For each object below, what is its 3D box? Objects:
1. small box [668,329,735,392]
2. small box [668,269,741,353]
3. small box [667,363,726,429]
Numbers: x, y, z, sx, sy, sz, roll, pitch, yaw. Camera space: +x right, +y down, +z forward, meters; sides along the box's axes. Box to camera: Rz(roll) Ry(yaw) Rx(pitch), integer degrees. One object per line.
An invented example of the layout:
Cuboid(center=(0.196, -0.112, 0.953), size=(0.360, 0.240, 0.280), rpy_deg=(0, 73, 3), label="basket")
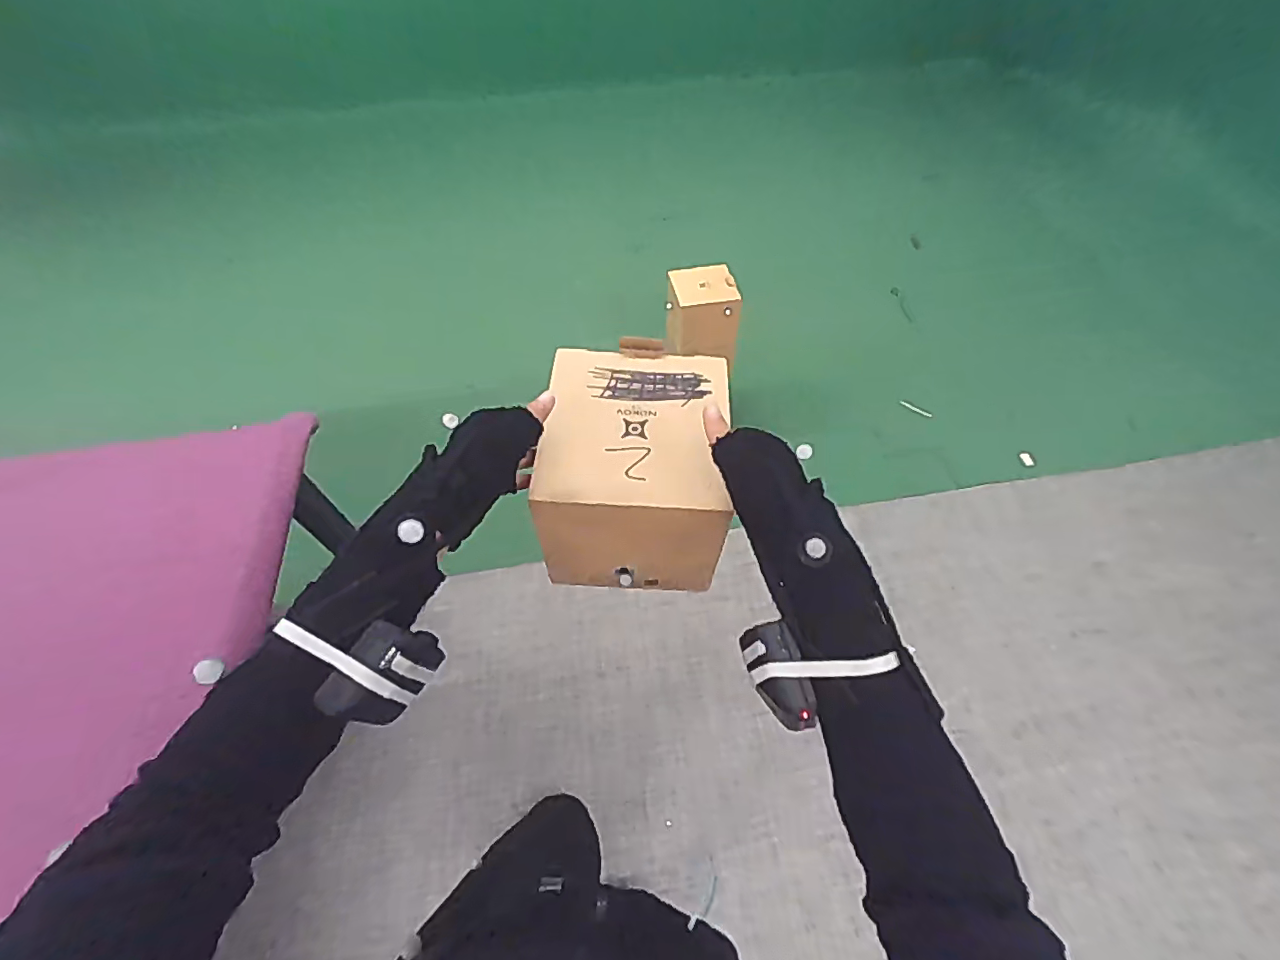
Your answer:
Cuboid(center=(0.190, -0.400, 1.720), size=(0.179, 0.176, 0.168), rpy_deg=(-7, 53, -4), label="small box")
Cuboid(center=(0.183, -0.492, 1.589), size=(0.179, 0.176, 0.168), rpy_deg=(-9, 55, -6), label="small box")
Cuboid(center=(0.188, -0.300, 1.854), size=(0.168, 0.176, 0.179), rpy_deg=(-9, 56, -5), label="small box")
